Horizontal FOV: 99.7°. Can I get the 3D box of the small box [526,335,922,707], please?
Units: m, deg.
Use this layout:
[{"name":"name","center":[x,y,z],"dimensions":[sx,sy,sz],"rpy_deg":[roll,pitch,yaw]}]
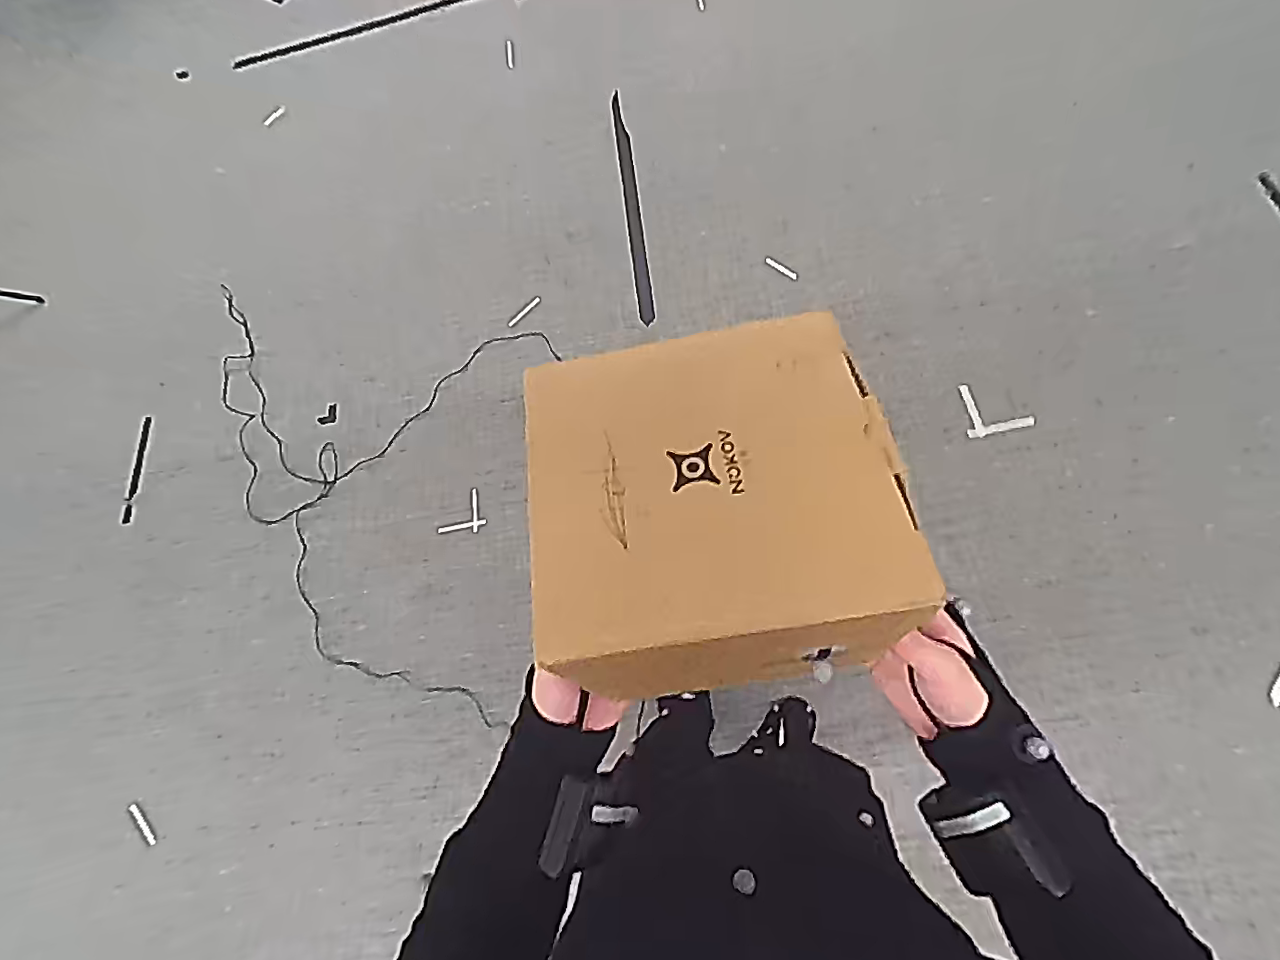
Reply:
[{"name":"small box","center":[0.039,0.040,0.344],"dimensions":[0.179,0.176,0.168],"rpy_deg":[-11,61,4]}]
